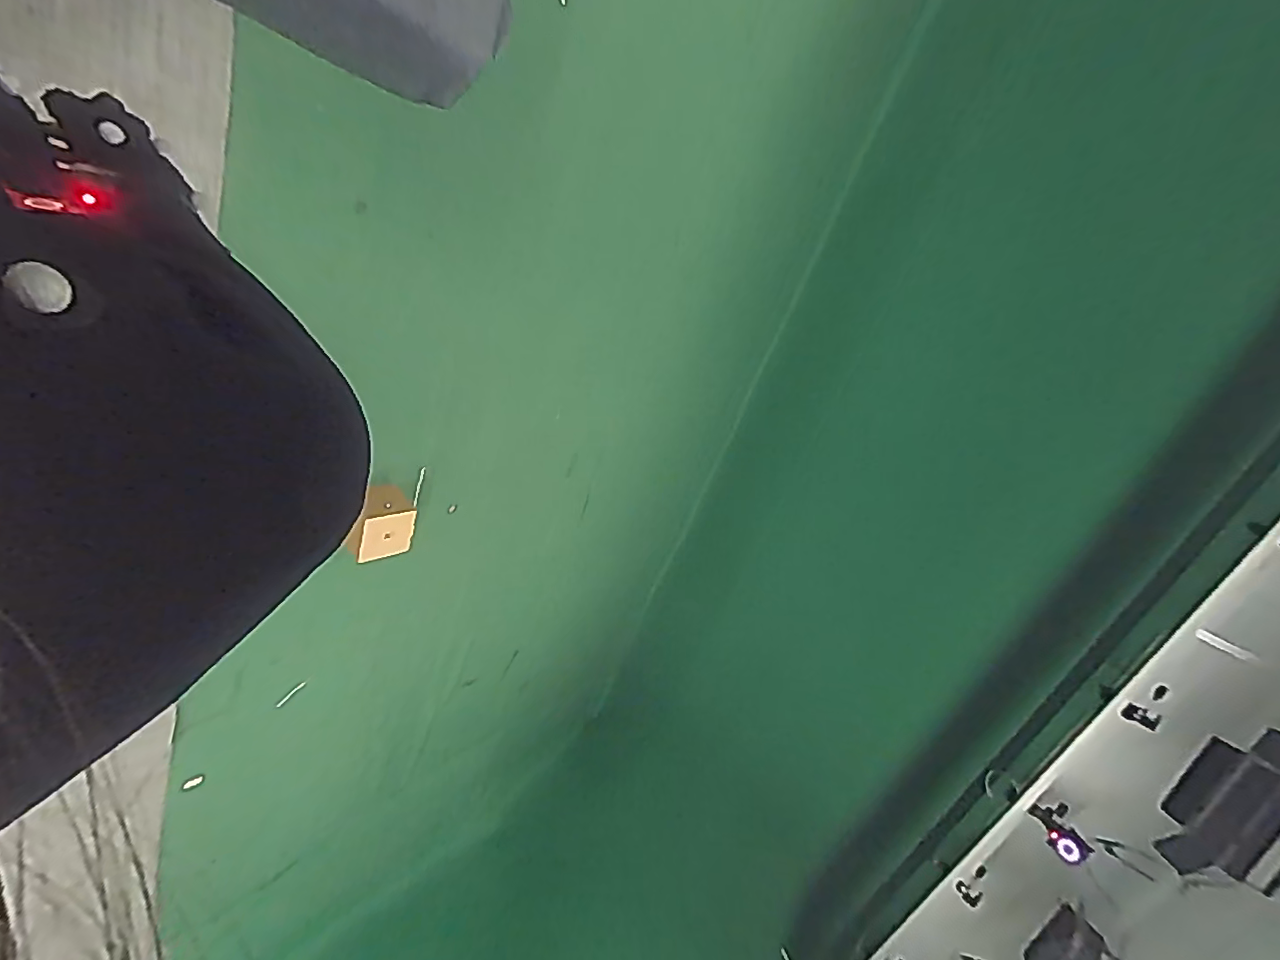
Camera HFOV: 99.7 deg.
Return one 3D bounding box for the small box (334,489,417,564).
[{"bbox_3d":[-0.861,0.144,1.758,0.179,0.176,0.168,-12,128,-53],"label":"small box"}]
